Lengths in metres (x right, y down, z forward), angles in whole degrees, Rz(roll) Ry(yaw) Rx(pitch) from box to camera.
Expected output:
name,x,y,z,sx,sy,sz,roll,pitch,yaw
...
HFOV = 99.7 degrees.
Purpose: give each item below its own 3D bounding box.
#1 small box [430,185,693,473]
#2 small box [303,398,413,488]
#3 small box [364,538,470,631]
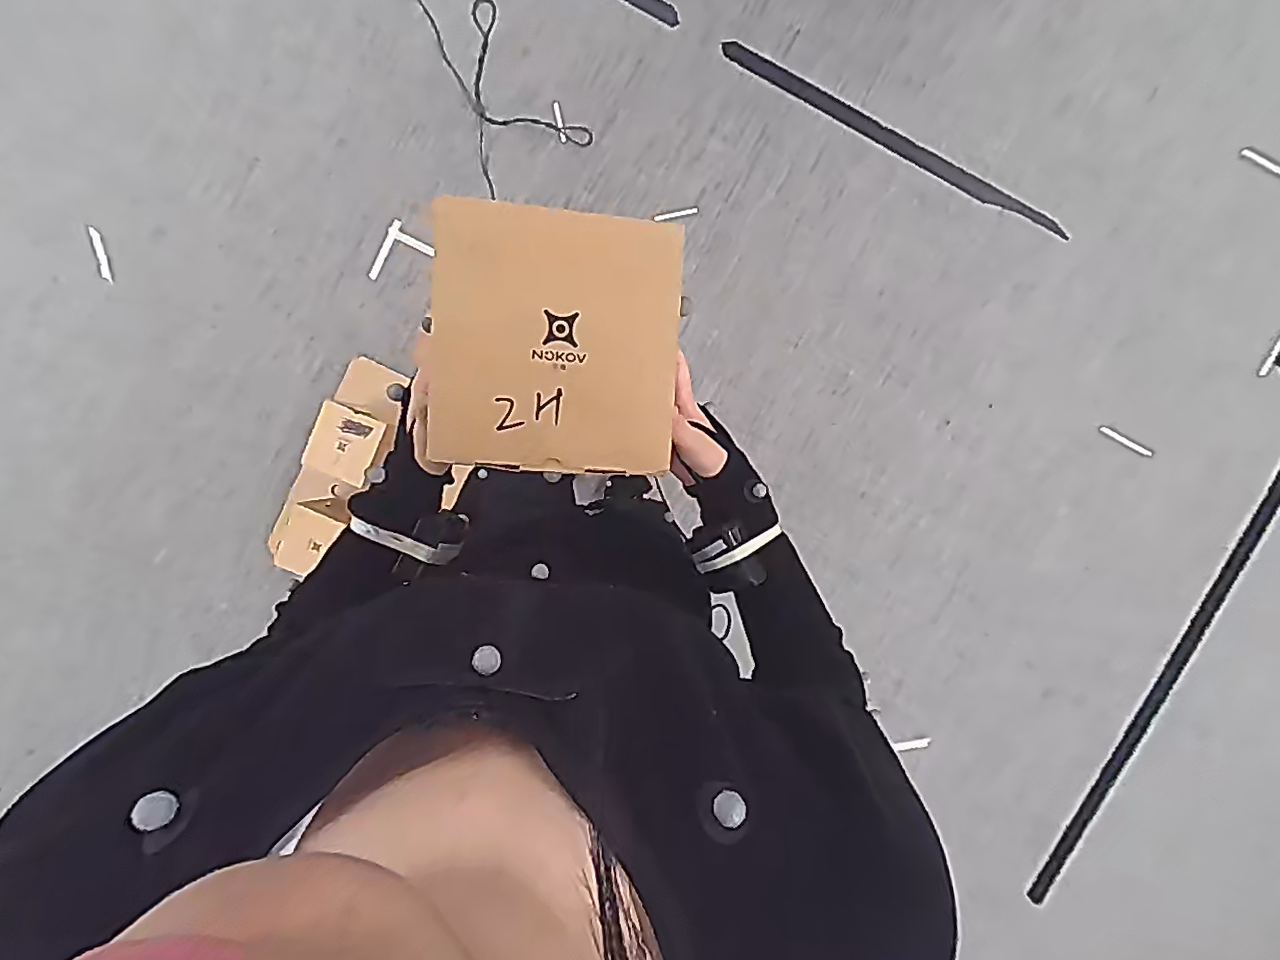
name,x,y,z,sx,sy,sz,roll,pitch,yaw
small box,-0.062,-0.101,0.437,0.168,0.176,0.179,3,93,-8
small box,-0.715,-0.092,1.395,0.168,0.176,0.179,23,92,0
small box,-0.568,0.262,1.403,0.179,0.176,0.168,23,92,-1
